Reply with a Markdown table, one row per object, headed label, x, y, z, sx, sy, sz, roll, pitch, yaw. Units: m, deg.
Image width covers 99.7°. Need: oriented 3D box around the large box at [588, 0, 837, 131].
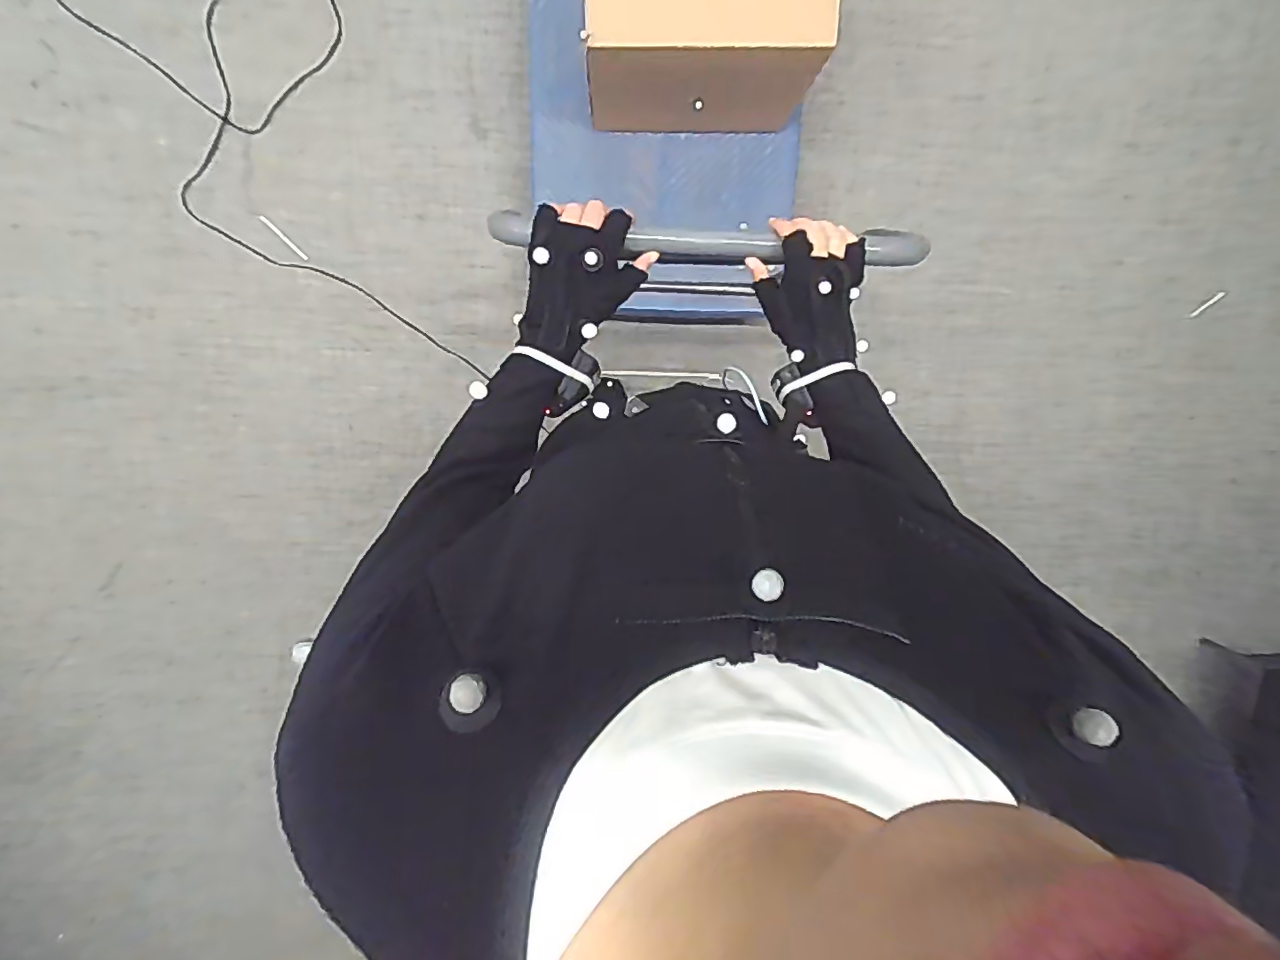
| label | x | y | z | sx | sy | sz | roll | pitch | yaw |
| --- | --- | --- | --- | --- | --- | --- | --- | --- | --- |
| large box | 0.111 | -0.872 | 0.989 | 0.408 | 0.320 | 0.320 | -2 | 100 | -1 |
